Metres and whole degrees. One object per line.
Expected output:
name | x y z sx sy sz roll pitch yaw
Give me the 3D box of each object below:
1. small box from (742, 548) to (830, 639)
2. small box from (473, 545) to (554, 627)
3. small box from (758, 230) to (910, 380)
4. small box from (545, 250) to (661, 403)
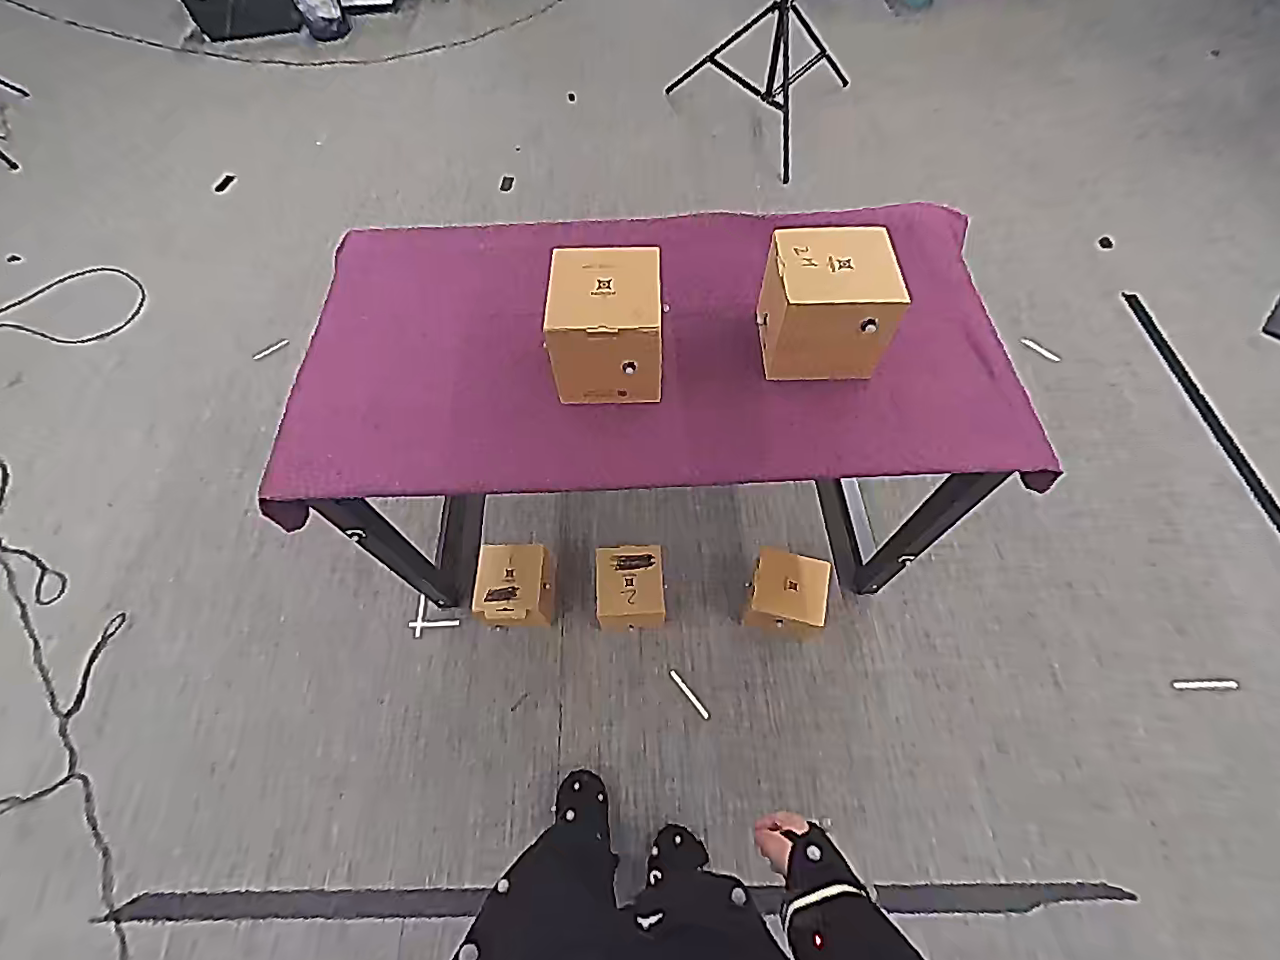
small box | 0.369 0.297 1.387 0.179 0.176 0.168 12 63 9
small box | -0.321 0.283 1.412 0.168 0.176 0.179 -1 60 1
small box | 0.297 -0.275 0.869 0.179 0.176 0.168 -1 60 2
small box | -0.049 -0.237 0.859 0.168 0.176 0.179 -1 59 0
